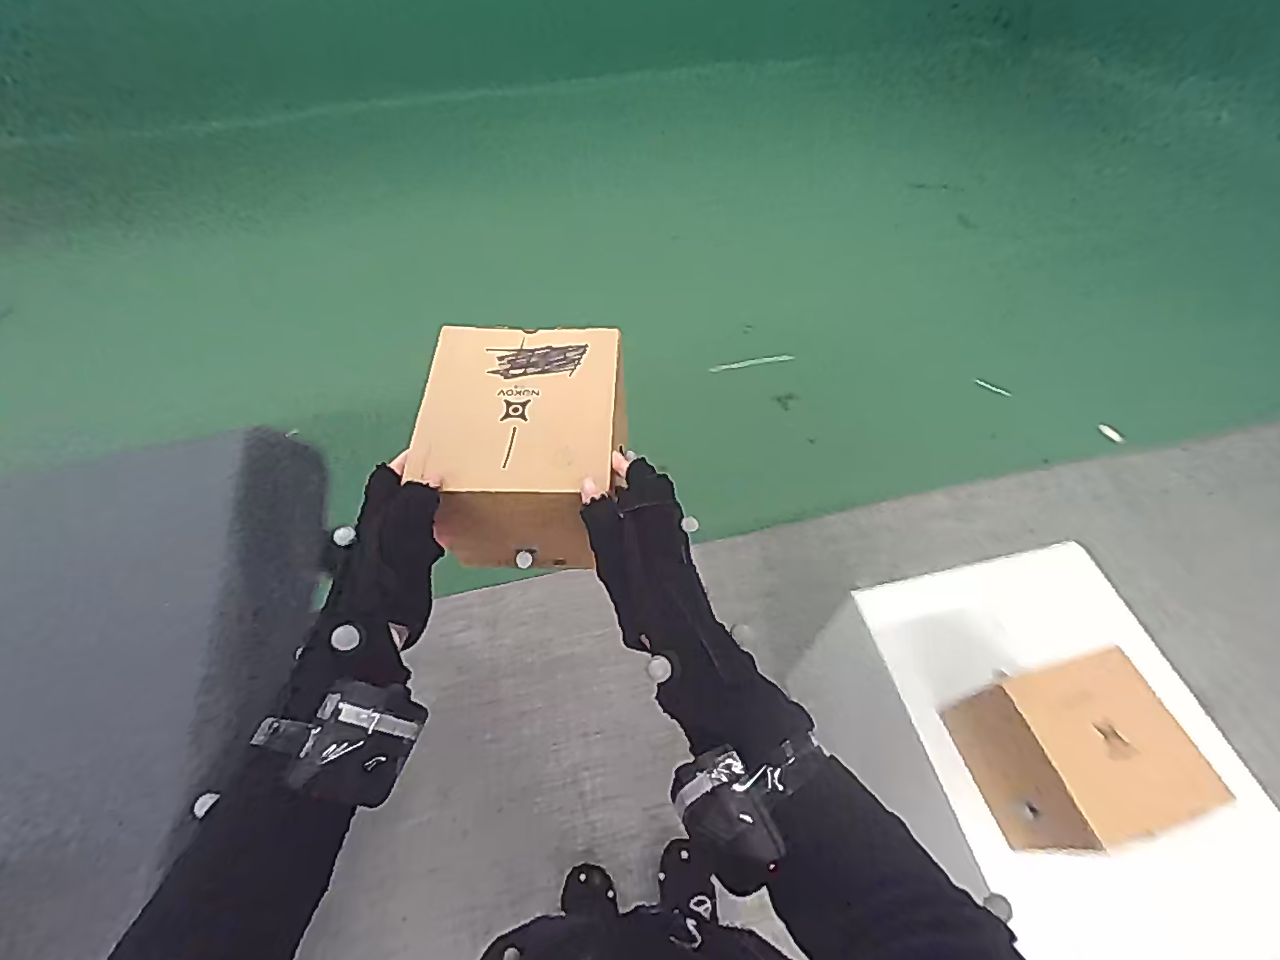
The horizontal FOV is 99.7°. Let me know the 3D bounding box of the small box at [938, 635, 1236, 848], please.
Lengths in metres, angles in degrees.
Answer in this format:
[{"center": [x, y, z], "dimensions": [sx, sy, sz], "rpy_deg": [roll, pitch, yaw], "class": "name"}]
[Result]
[{"center": [0.504, 0.313, 0.646], "dimensions": [0.168, 0.176, 0.179], "rpy_deg": [-14, 56, -8], "class": "small box"}]
